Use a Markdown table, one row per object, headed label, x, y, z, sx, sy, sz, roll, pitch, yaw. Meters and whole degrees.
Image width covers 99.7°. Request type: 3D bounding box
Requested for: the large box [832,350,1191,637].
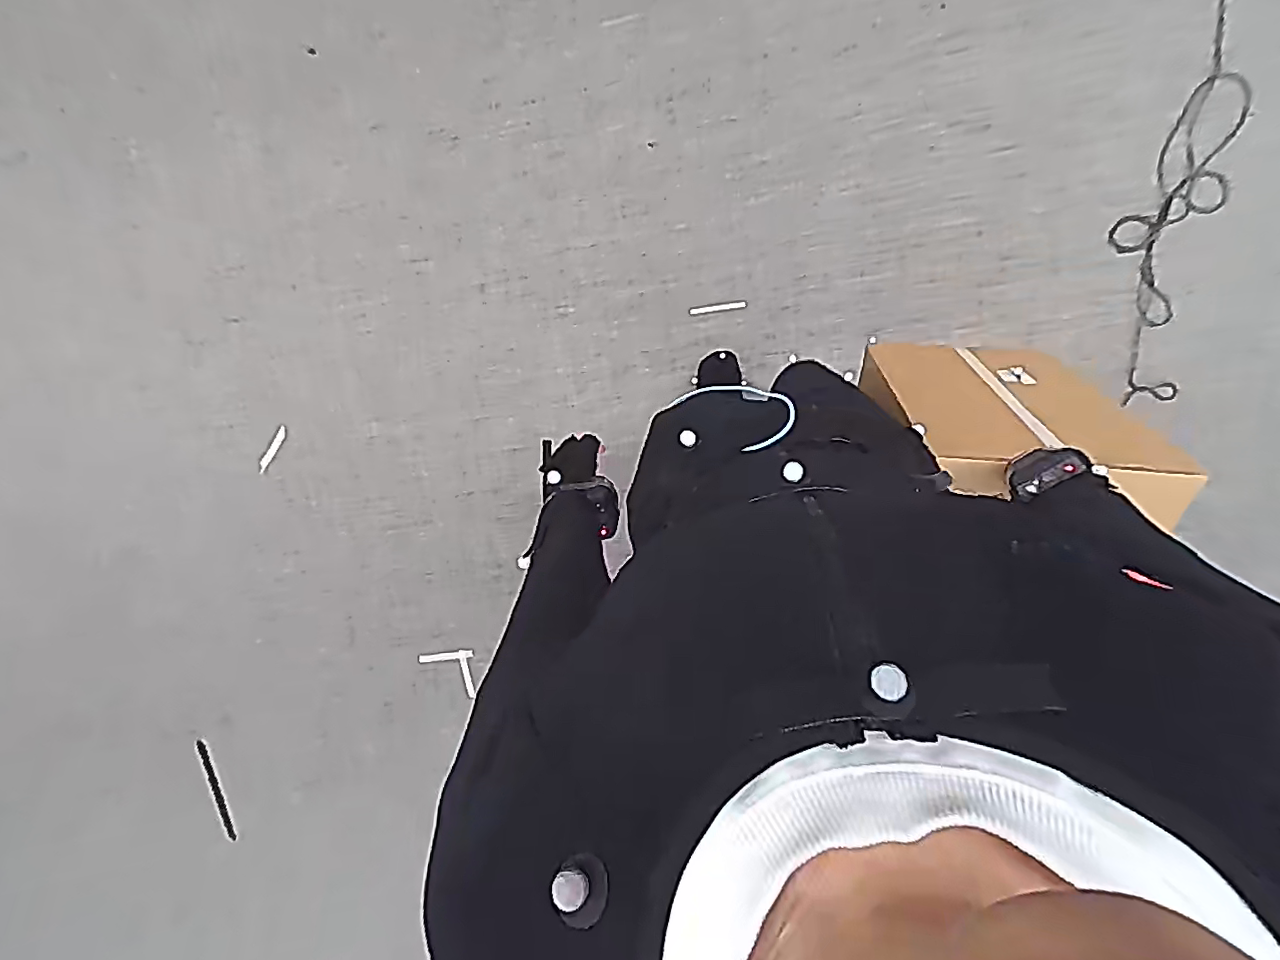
| label | x | y | z | sx | sy | sz | roll | pitch | yaw |
| --- | --- | --- | --- | --- | --- | --- | --- | --- | --- |
| large box | 0.540 | 0.002 | 0.910 | 0.320 | 0.408 | 0.320 | 5 | 123 | 5 |
